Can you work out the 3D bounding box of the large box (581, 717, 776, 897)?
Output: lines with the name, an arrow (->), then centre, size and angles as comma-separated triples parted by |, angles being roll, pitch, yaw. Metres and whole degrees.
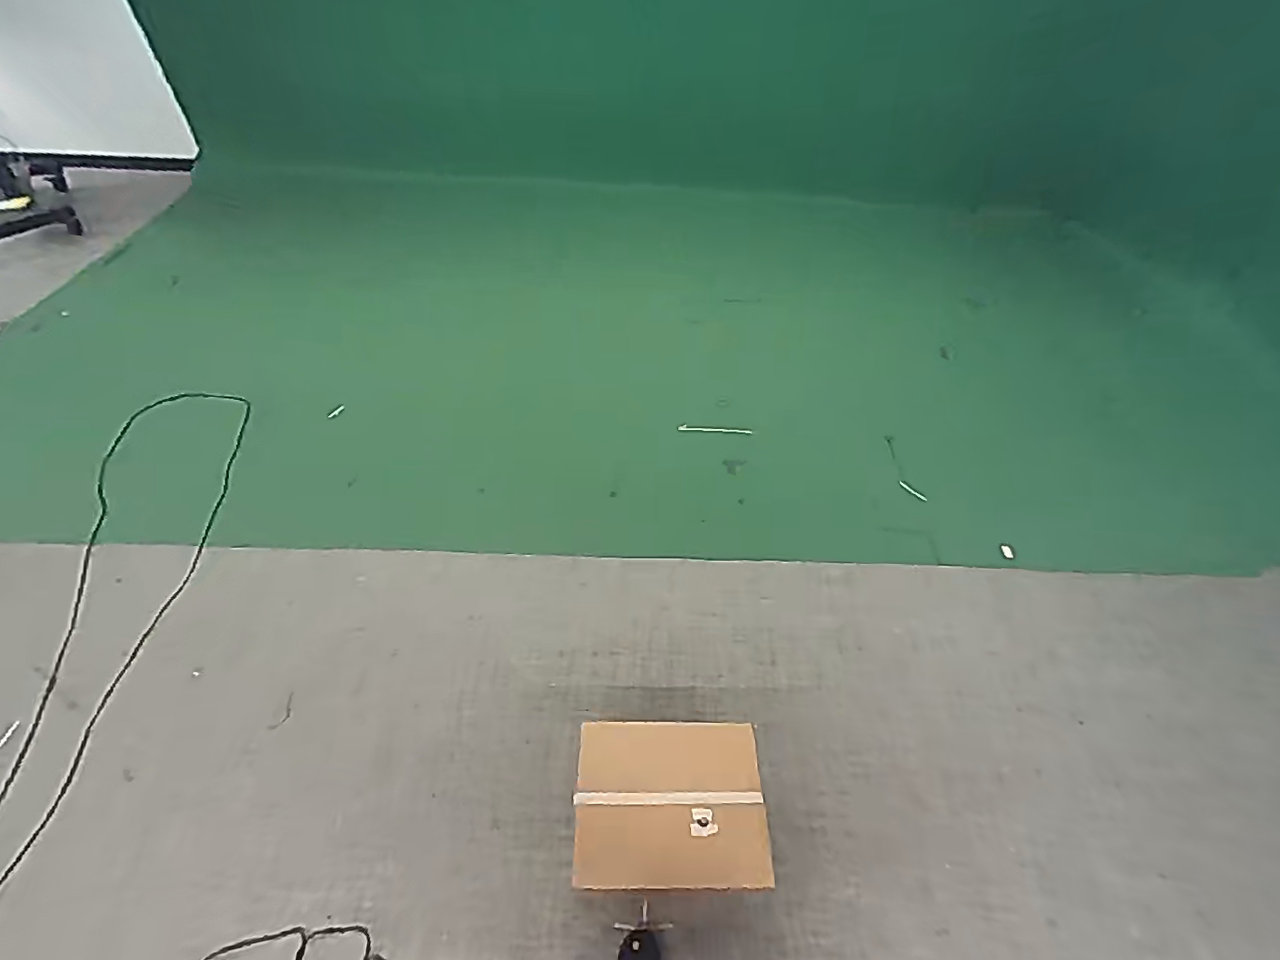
large box -> 0.065, 0.777, 1.285 | 0.408, 0.320, 0.320 | 1, 49, -3
